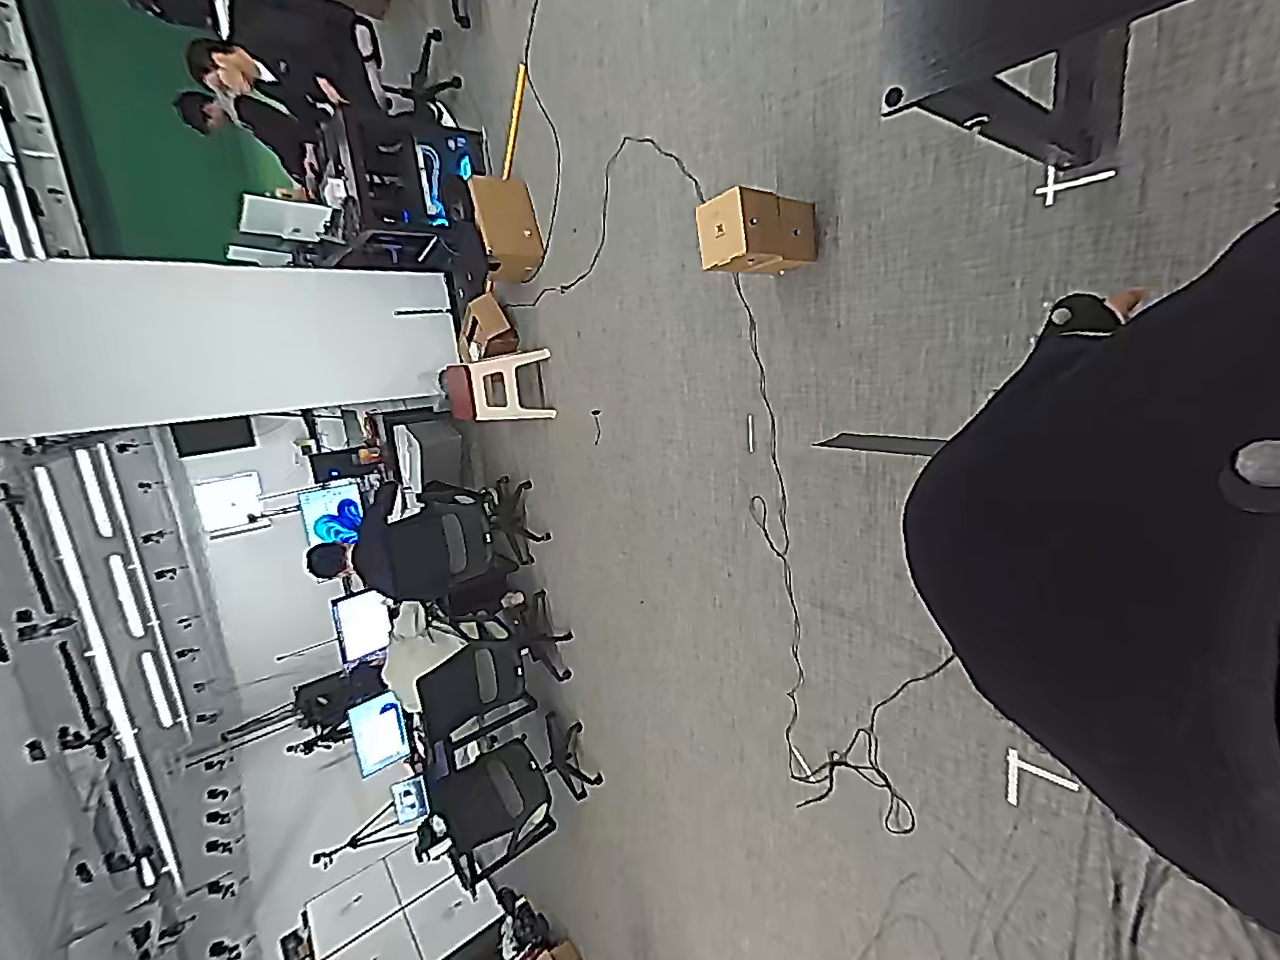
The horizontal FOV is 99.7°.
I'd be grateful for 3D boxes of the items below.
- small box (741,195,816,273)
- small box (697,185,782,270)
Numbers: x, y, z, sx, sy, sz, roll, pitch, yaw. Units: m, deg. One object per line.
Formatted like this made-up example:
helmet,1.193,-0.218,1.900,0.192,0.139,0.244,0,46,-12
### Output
small box,0.416,-0.738,1.638,0.168,0.176,0.179,6,107,52
small box,0.287,-0.711,1.541,0.168,0.176,0.179,1,102,52
